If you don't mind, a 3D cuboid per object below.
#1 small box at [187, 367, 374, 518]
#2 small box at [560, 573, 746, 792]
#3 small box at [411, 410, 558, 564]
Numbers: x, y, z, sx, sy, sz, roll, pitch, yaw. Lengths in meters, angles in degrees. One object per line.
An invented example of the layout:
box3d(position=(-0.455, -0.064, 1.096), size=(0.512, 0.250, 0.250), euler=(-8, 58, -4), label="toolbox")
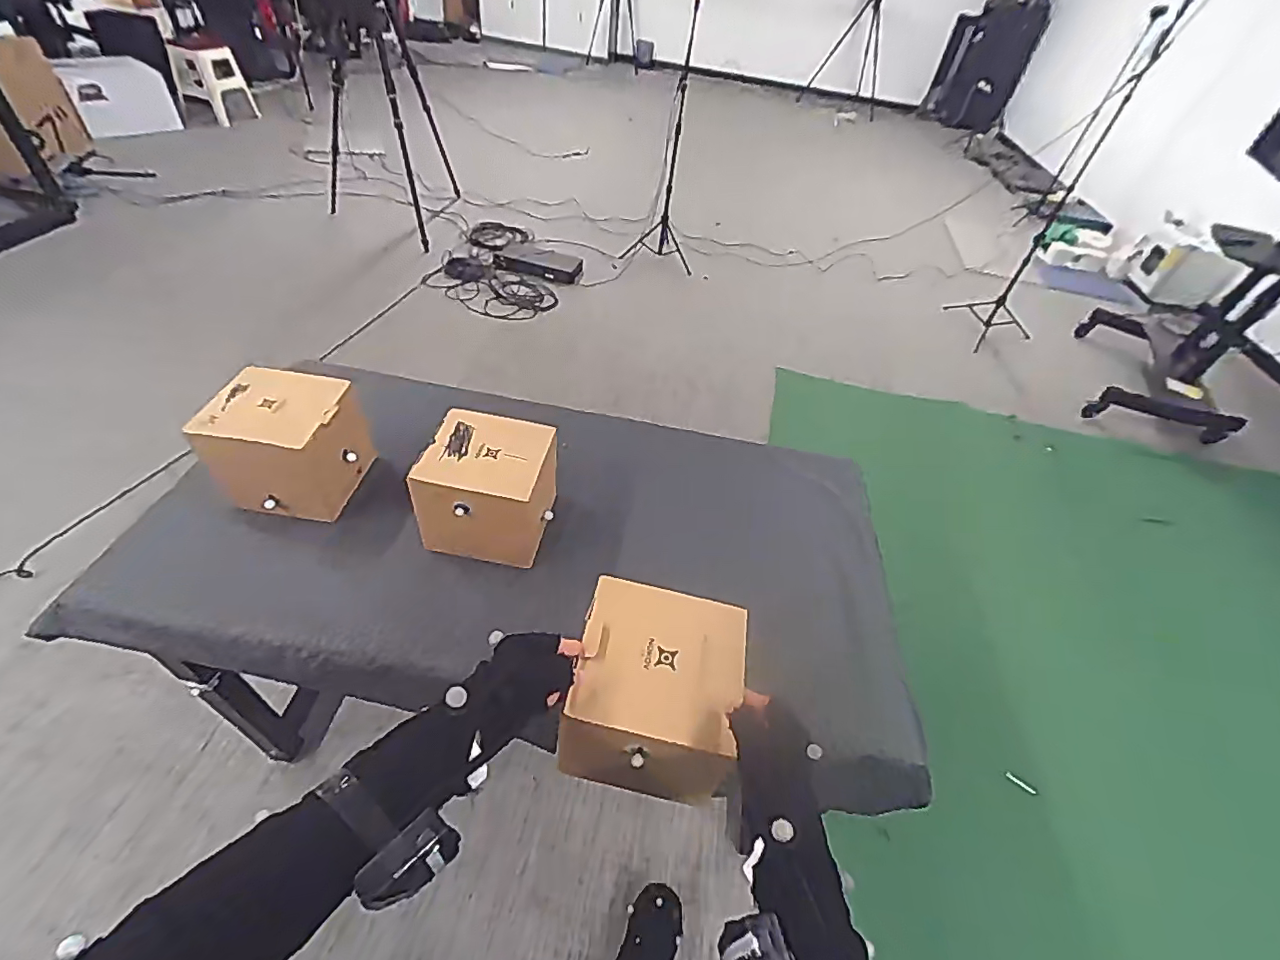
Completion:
box3d(position=(-0.565, -0.057, 0.884), size=(0.179, 0.176, 0.168), euler=(9, 46, -2), label="small box")
box3d(position=(0.013, 0.238, 0.626), size=(0.179, 0.176, 0.168), euler=(14, 45, 0), label="small box")
box3d(position=(-0.238, 0.014, 0.872), size=(0.179, 0.176, 0.168), euler=(11, 46, 0), label="small box")
